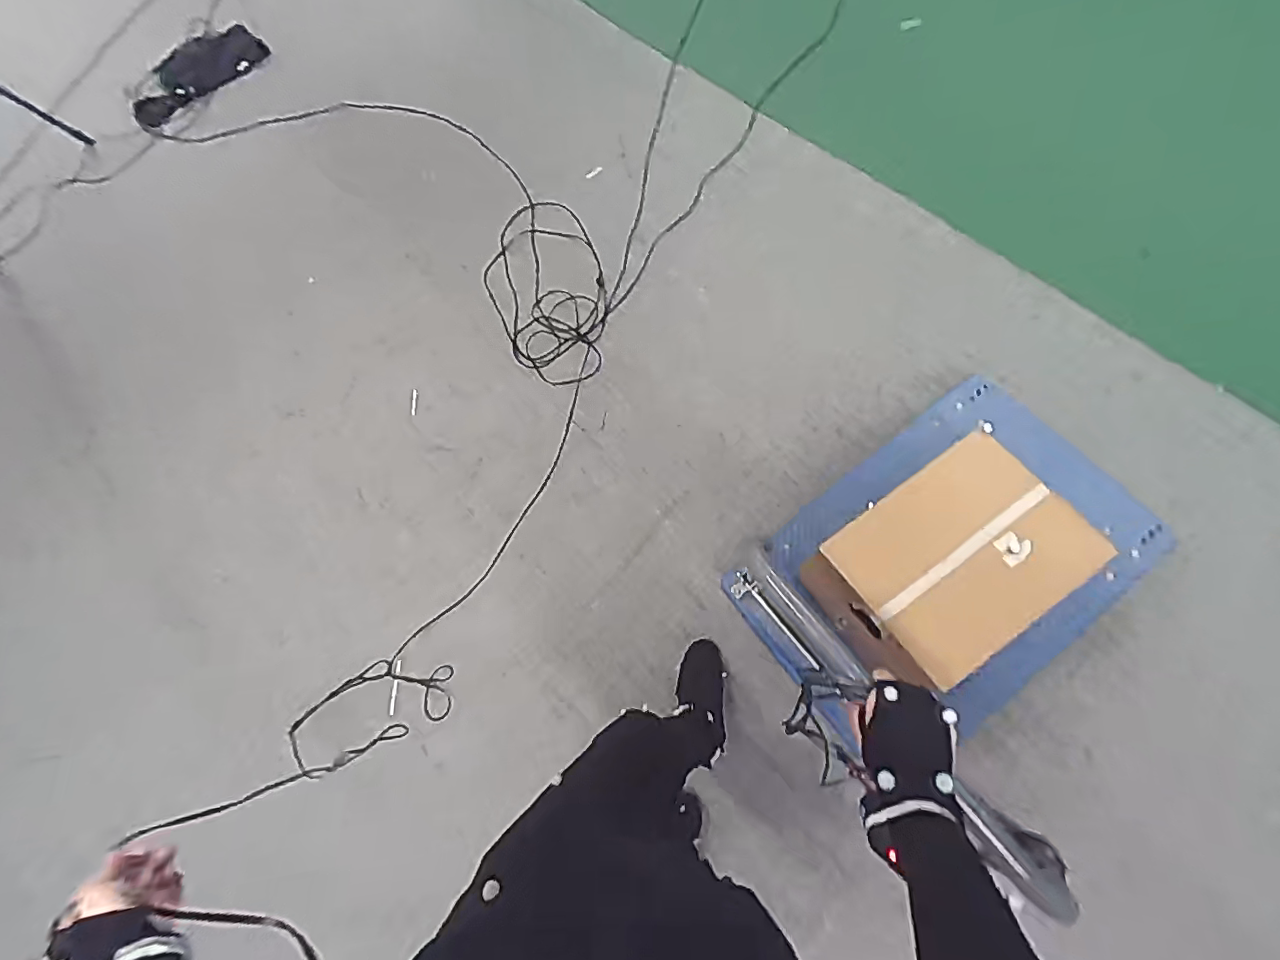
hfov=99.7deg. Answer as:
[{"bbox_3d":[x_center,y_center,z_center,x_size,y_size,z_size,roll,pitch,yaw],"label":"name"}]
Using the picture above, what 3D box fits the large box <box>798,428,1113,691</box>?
[{"bbox_3d":[0.593,0.177,1.104,0.408,0.320,0.320,-35,71,-6],"label":"large box"}]
